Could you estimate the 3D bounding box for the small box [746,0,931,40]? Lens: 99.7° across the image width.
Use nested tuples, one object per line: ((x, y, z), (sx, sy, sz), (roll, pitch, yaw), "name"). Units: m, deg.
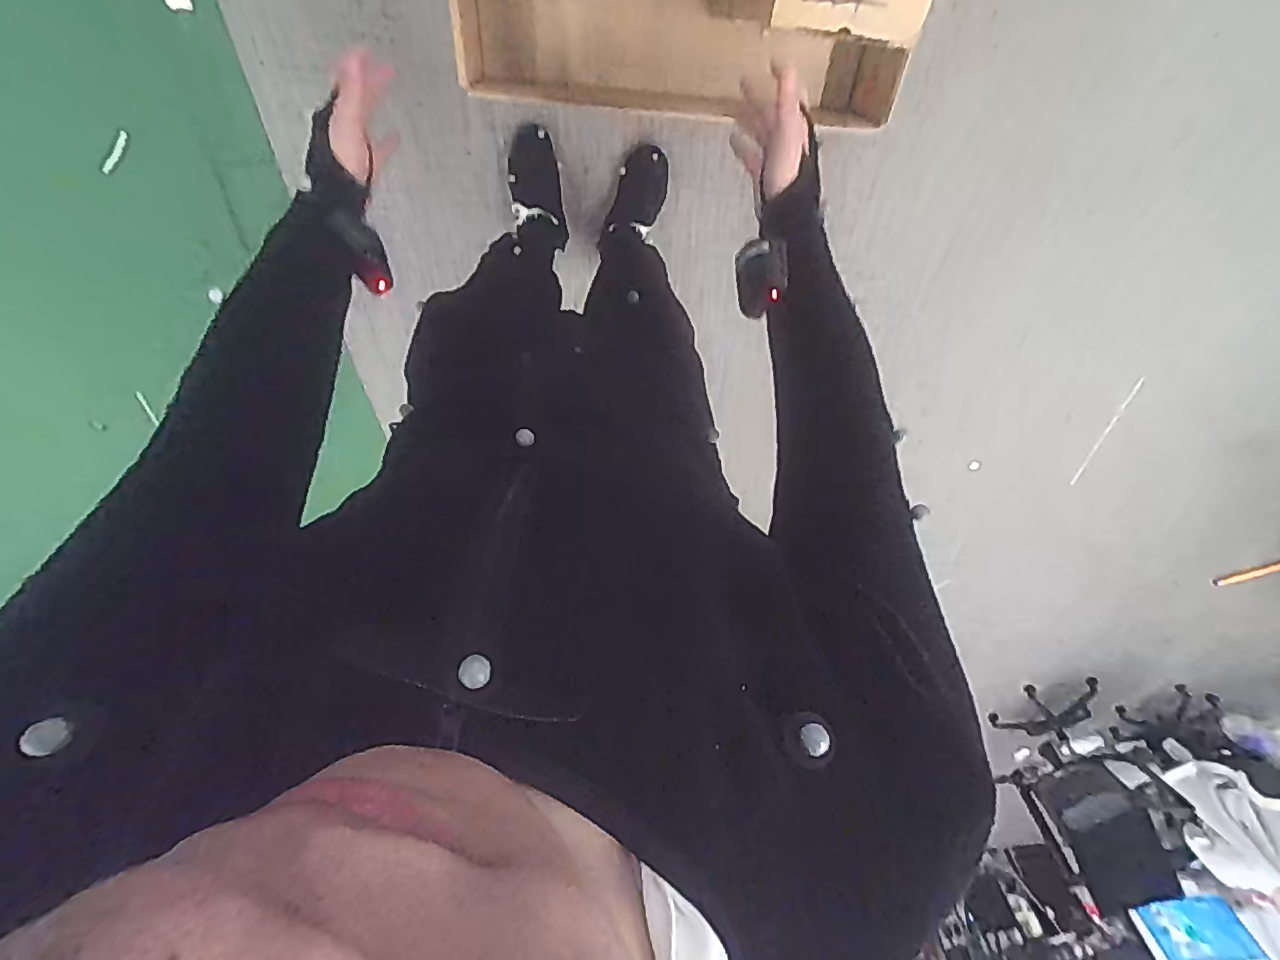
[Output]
((0.216, -0.584, 0.562), (0.168, 0.176, 0.179), (2, 131, -7), "small box")
